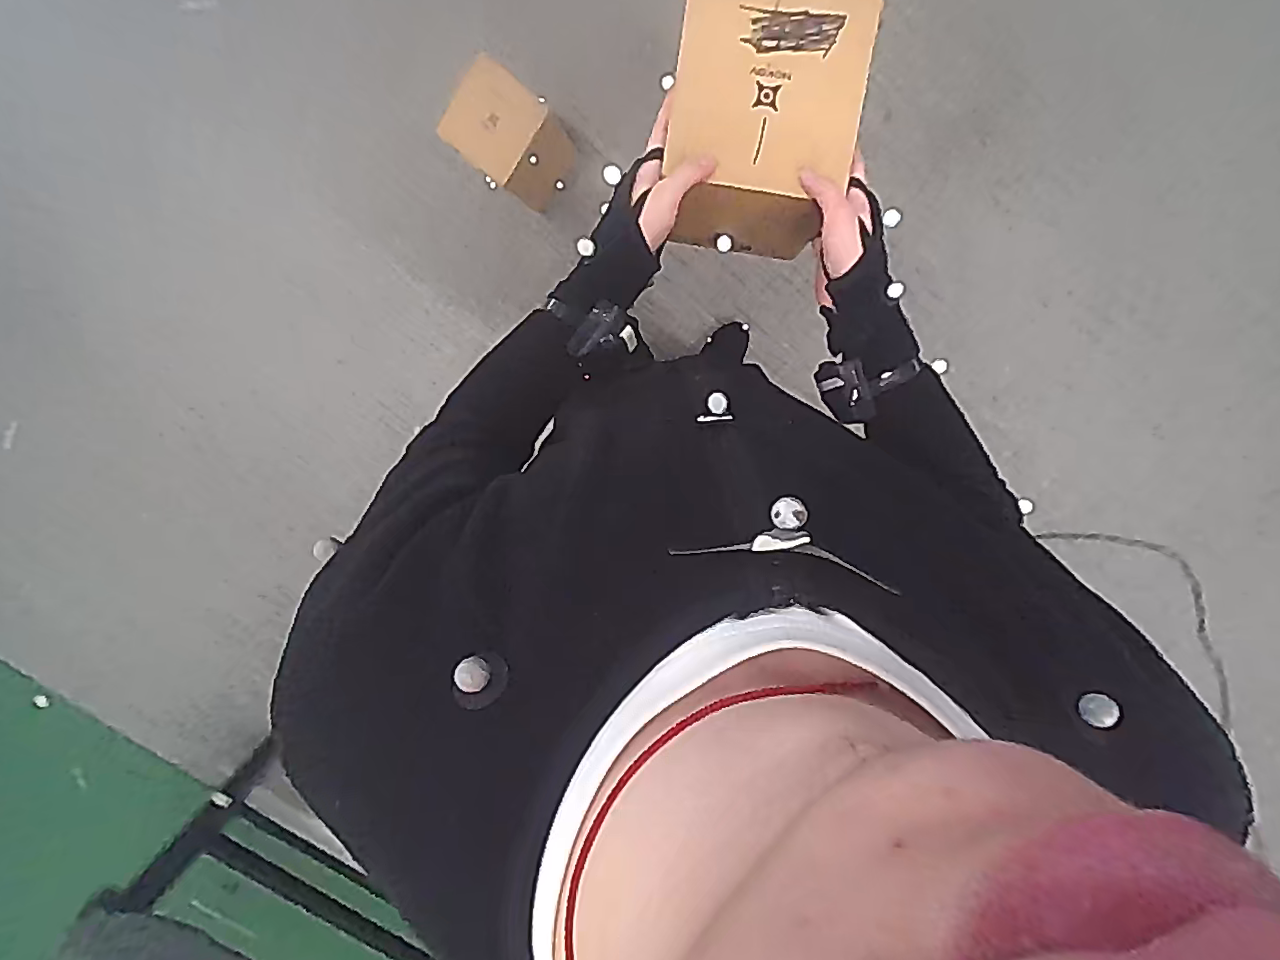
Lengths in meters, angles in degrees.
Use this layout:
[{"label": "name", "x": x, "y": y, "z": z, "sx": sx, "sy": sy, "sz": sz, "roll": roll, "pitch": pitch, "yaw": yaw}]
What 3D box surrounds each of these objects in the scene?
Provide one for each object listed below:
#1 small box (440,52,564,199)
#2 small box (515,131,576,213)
[{"label": "small box", "x": -0.280, "y": -0.730, "z": 1.140, "sx": 0.168, "sy": 0.176, "sz": 0.179, "roll": 37, "pitch": 105, "yaw": -8}, {"label": "small box", "x": -0.269, "y": -0.777, "z": 1.295, "sx": 0.168, "sy": 0.176, "sz": 0.179, "roll": 39, "pitch": 106, "yaw": -8}]
